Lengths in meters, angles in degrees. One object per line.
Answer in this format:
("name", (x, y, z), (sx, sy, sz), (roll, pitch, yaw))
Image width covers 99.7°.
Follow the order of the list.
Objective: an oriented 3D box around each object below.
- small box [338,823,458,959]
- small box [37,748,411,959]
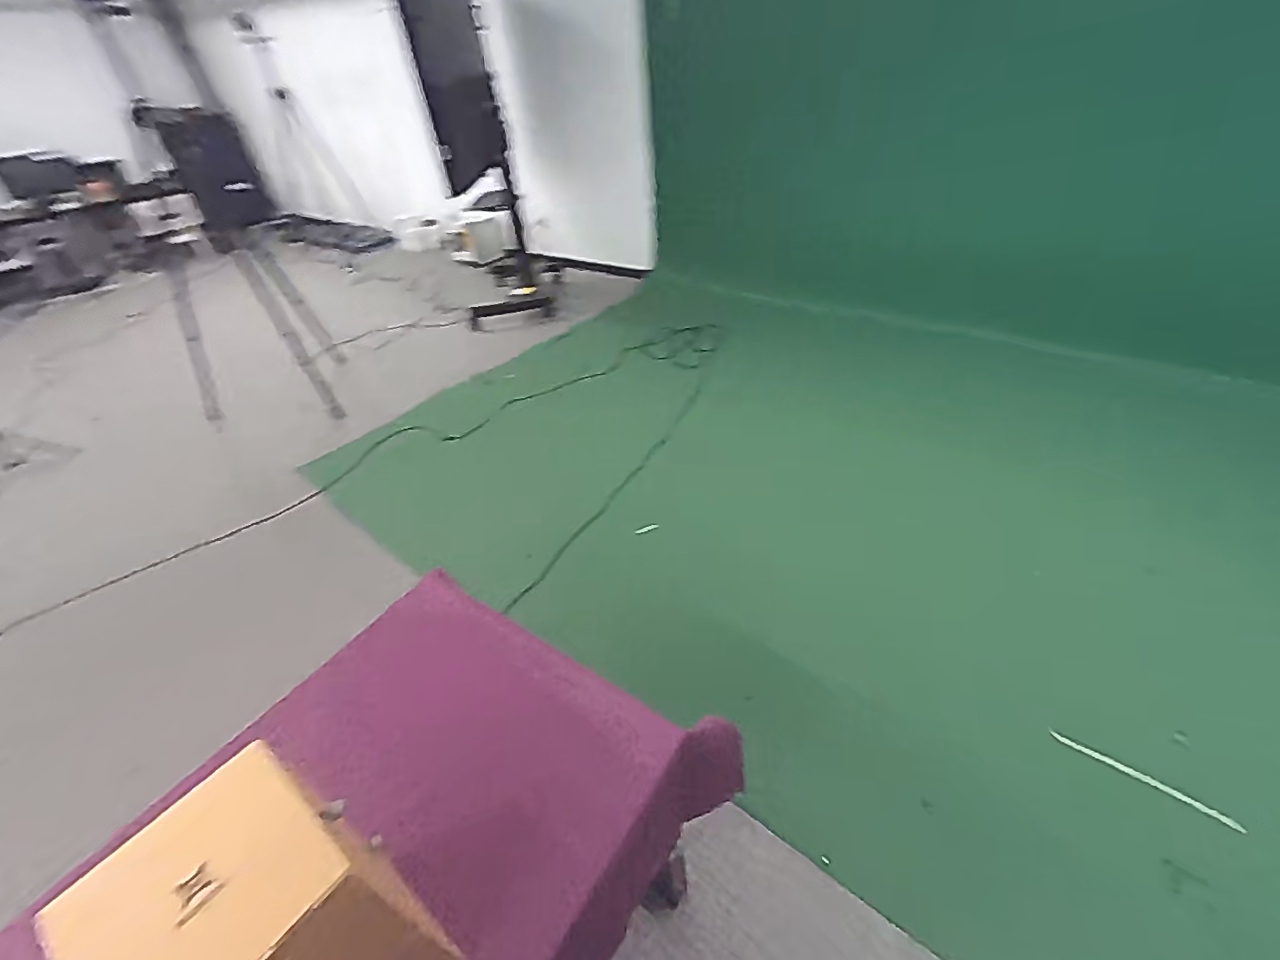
("small box", (-0.320, 0.509, 0.560), (0.179, 0.176, 0.168), (23, 47, 31))
("small box", (-0.333, 0.381, 0.460), (0.179, 0.176, 0.168), (23, 47, 30))
